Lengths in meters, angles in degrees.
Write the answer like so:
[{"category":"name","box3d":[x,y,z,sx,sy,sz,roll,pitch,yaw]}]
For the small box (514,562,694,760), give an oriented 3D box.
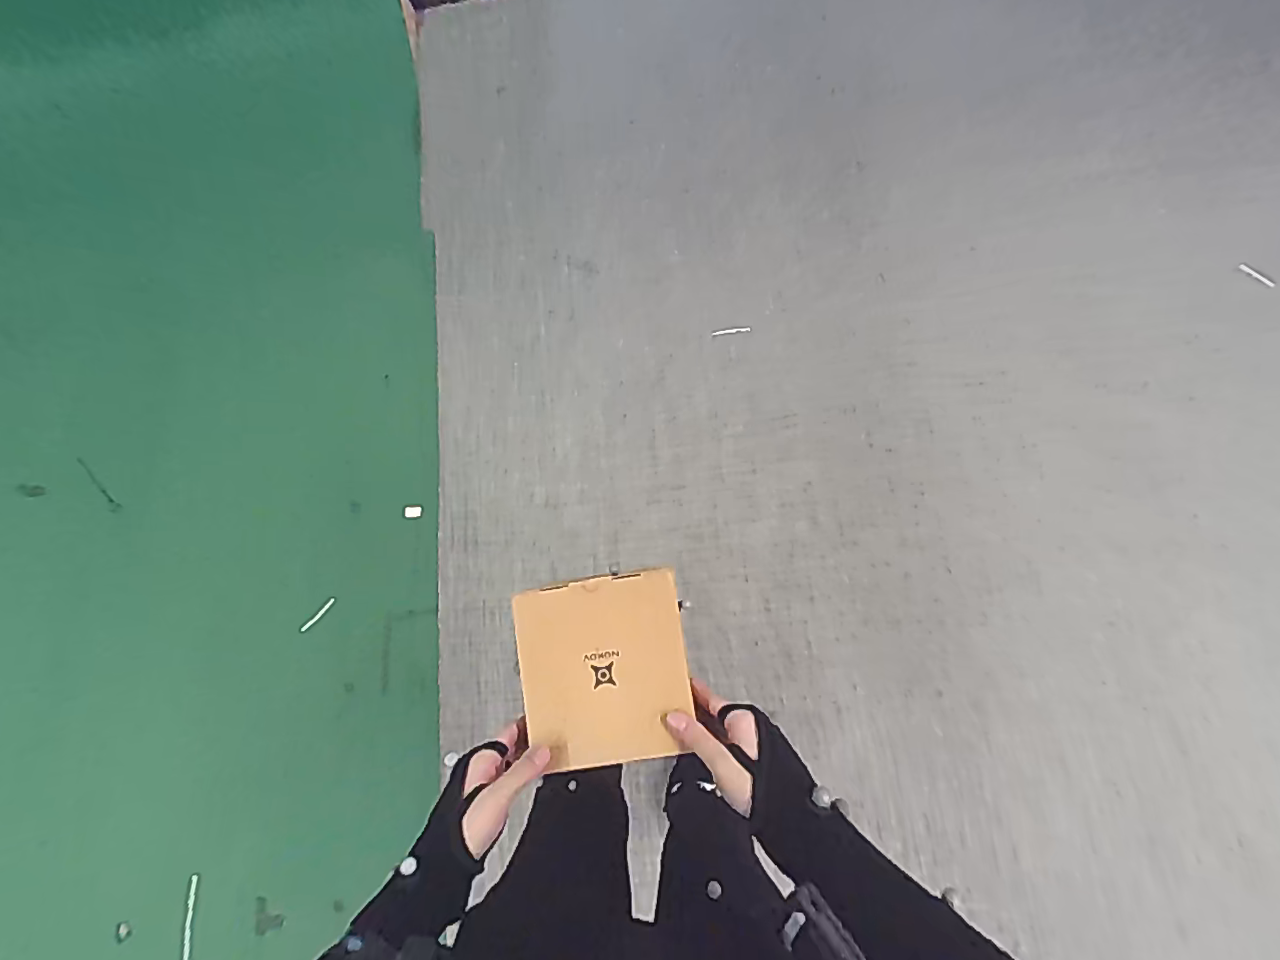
[{"category":"small box","box3d":[-0.032,0.191,0.618,0.168,0.176,0.179,-9,80,2]}]
